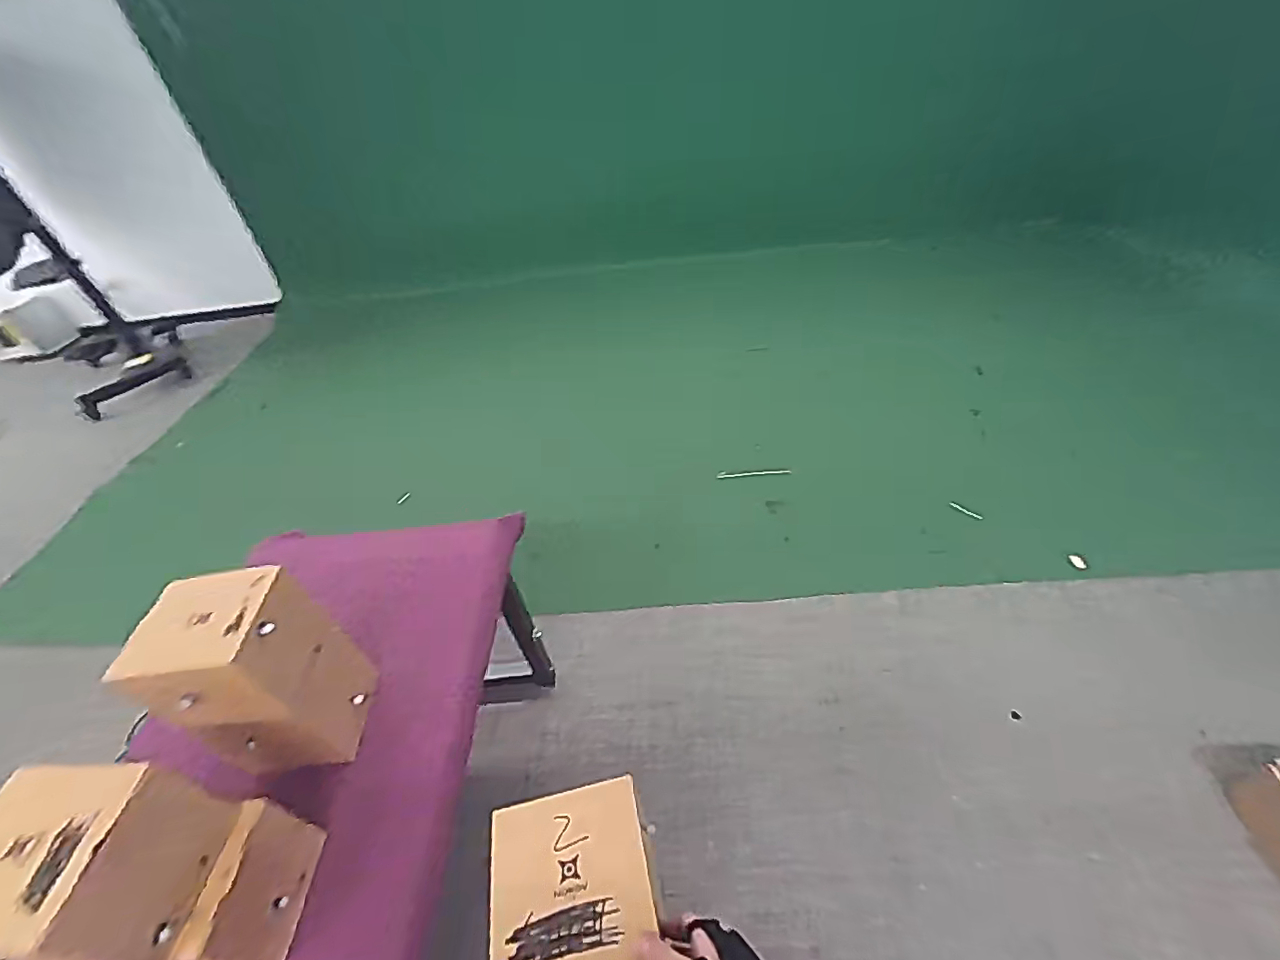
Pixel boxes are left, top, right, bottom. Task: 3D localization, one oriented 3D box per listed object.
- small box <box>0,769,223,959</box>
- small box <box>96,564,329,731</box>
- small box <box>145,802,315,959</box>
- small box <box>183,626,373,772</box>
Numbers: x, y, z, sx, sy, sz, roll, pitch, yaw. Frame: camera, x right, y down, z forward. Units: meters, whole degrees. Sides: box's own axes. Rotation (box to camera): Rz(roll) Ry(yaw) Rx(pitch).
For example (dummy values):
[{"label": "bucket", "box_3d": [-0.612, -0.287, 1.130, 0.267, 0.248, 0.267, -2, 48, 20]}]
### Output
[{"label": "small box", "box_3d": [-0.631, 0.440, 0.604, 0.179, 0.176, 0.168, -4, 42, 5]}, {"label": "small box", "box_3d": [-0.611, 0.252, 0.803, 0.179, 0.176, 0.168, -9, 43, 1]}, {"label": "small box", "box_3d": [-0.583, 0.553, 0.718, 0.179, 0.176, 0.168, -6, 42, 1]}, {"label": "small box", "box_3d": [-0.591, 0.372, 0.912, 0.179, 0.176, 0.168, -8, 42, 1]}]
